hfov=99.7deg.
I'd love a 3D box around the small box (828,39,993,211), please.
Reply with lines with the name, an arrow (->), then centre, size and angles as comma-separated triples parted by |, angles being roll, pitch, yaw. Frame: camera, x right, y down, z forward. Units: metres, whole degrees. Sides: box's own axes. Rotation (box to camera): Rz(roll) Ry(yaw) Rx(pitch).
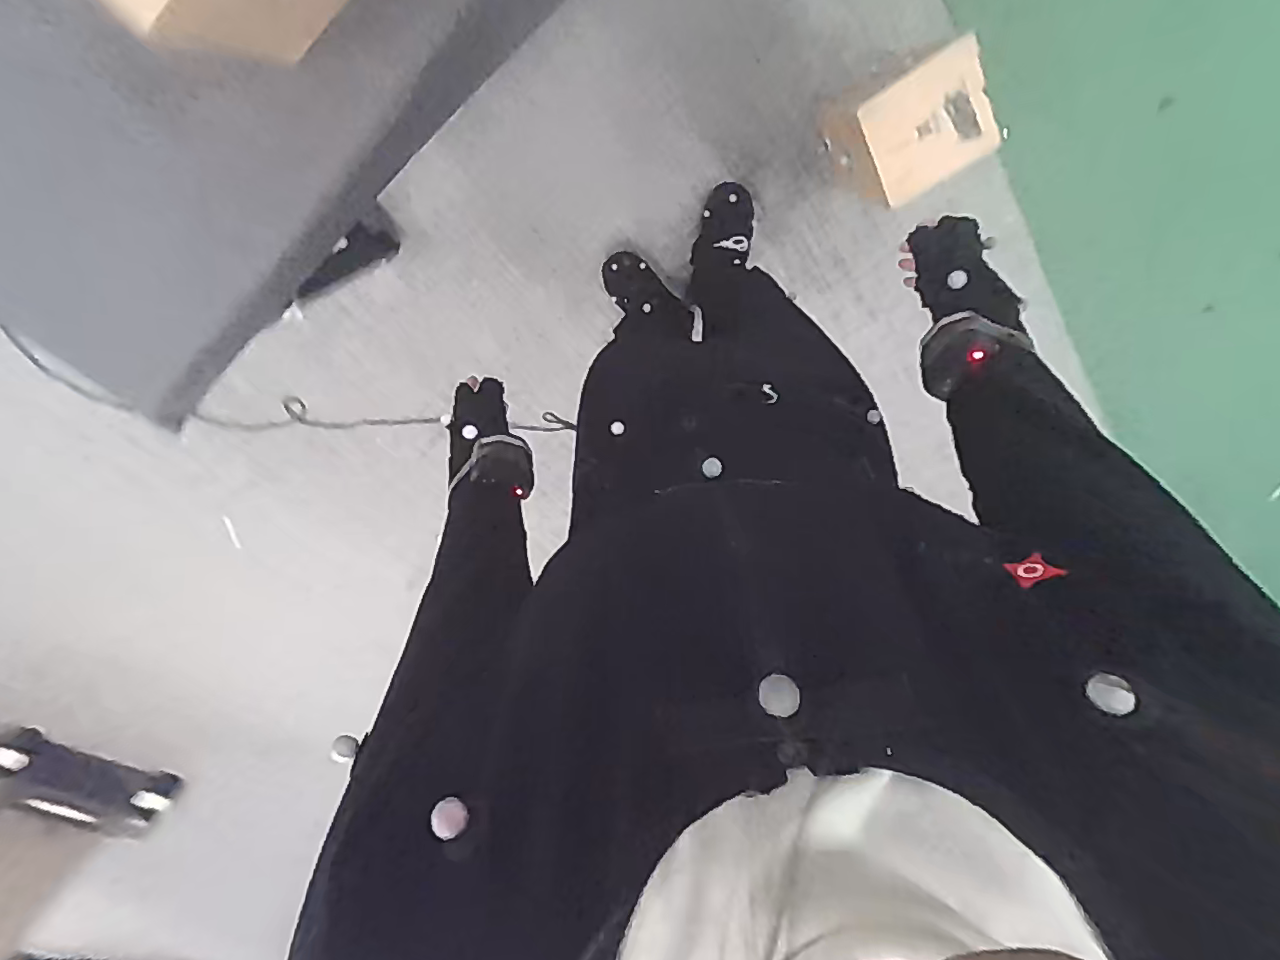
small box -> 0.437, -0.578, 0.893 | 0.179, 0.176, 0.168 | -25, 118, 18
